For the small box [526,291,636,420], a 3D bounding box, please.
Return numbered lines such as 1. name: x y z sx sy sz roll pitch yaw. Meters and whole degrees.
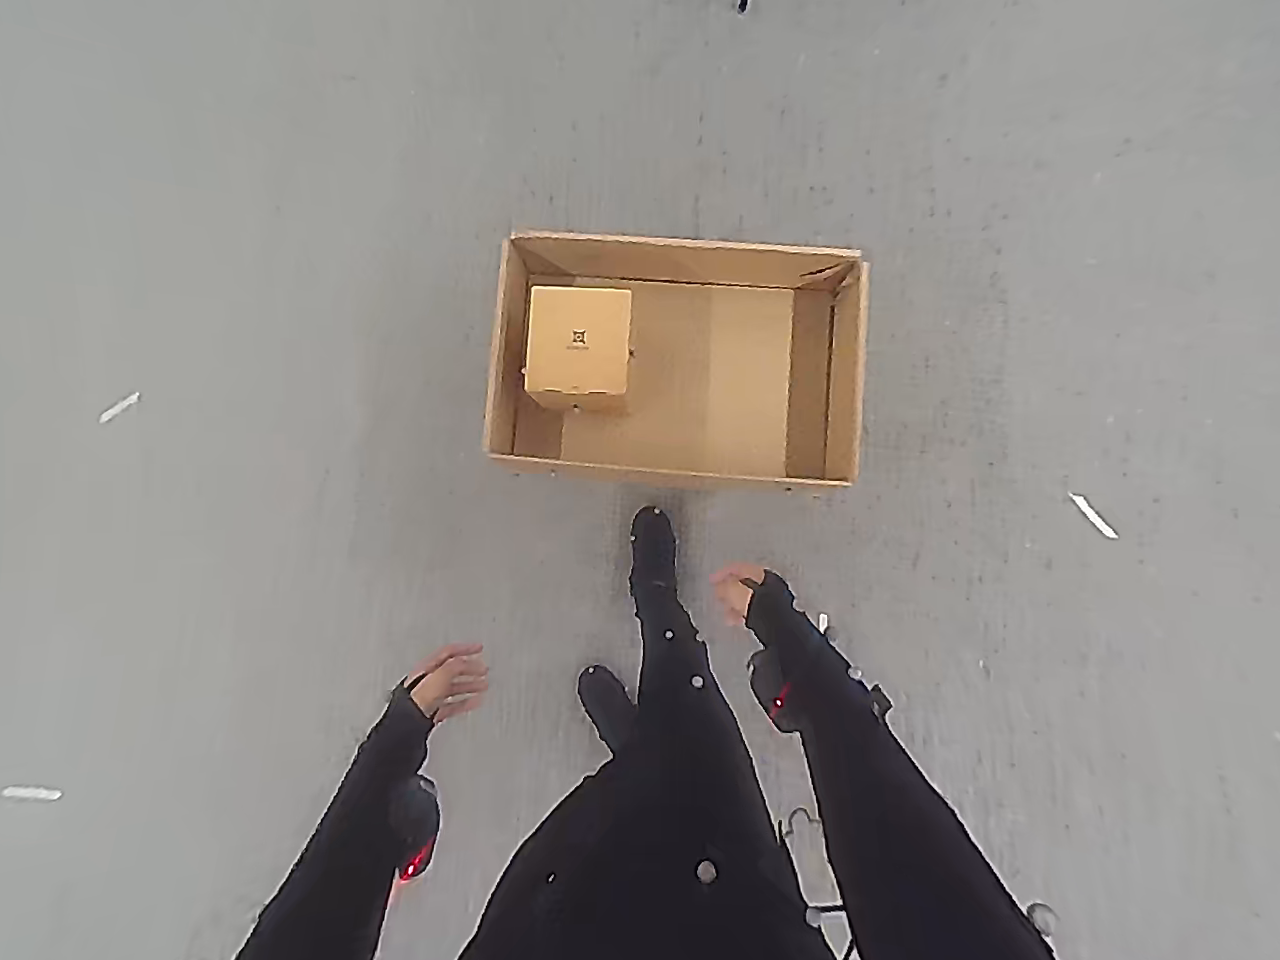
1. small box: -0.094 -0.211 0.949 0.168 0.176 0.179 3 86 2
